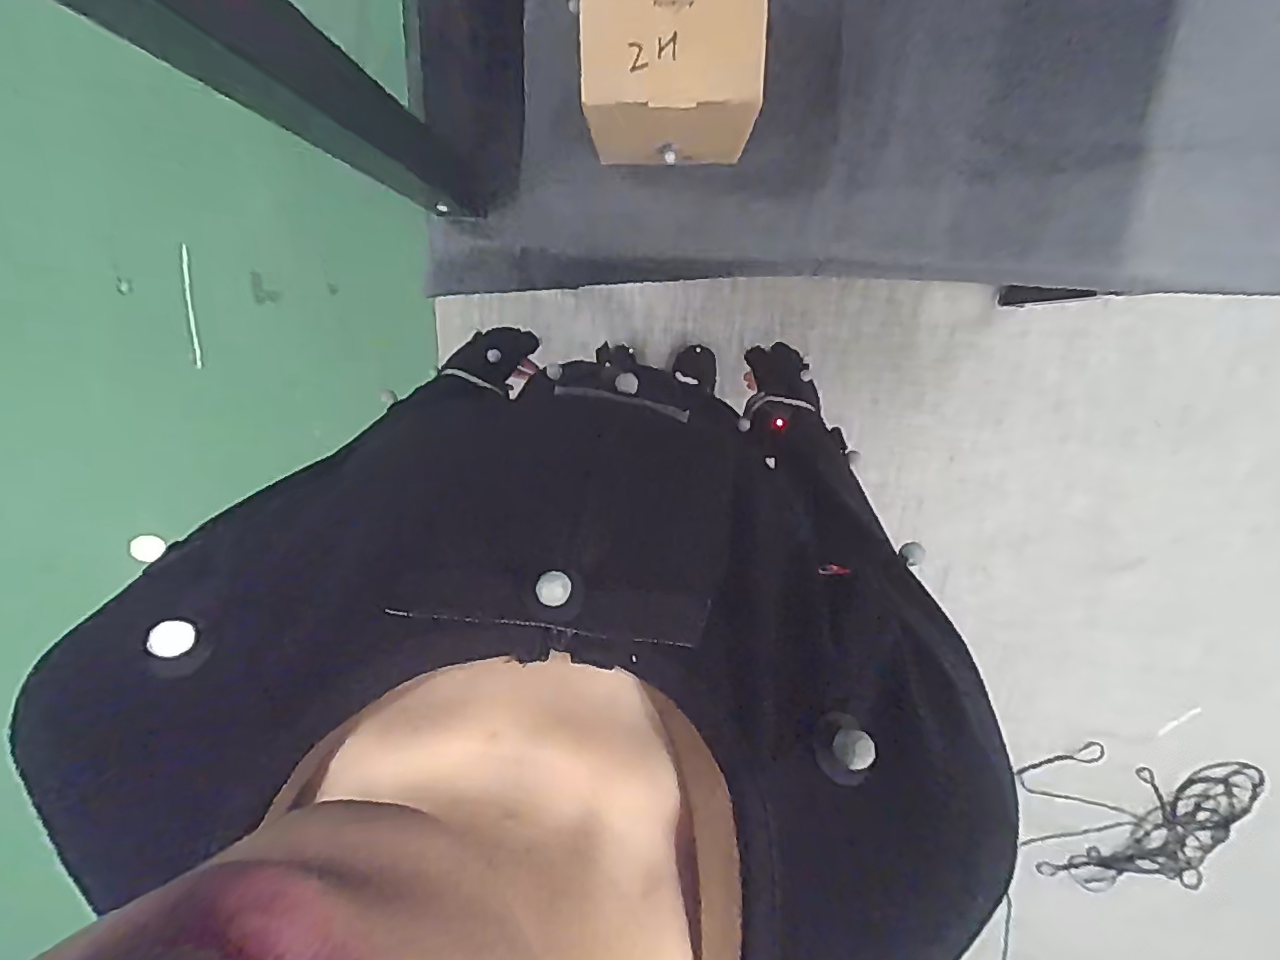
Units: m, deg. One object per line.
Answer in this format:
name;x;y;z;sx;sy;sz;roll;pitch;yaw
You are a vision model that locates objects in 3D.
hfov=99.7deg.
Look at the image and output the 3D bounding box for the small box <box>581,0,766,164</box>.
small box;0.031;-0.446;0.549;0.168;0.176;0.179;1;104;2
